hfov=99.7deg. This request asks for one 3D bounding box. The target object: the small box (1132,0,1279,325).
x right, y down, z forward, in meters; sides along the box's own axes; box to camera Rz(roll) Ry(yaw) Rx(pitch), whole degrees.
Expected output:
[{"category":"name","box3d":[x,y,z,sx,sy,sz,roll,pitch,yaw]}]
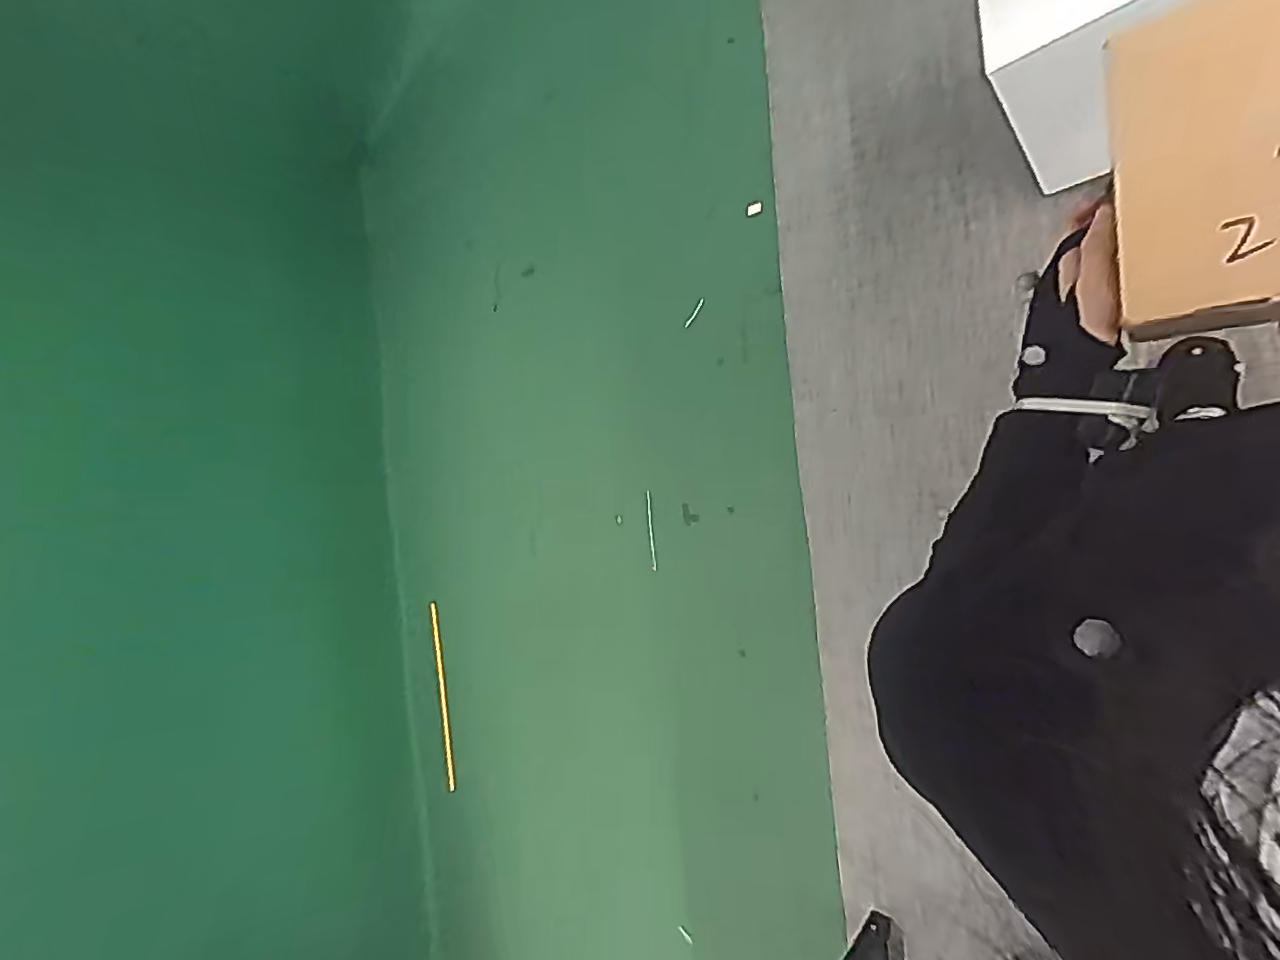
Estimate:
[{"category":"small box","box3d":[0.408,-0.204,0.322,0.168,0.176,0.179,-3,94,45]}]
